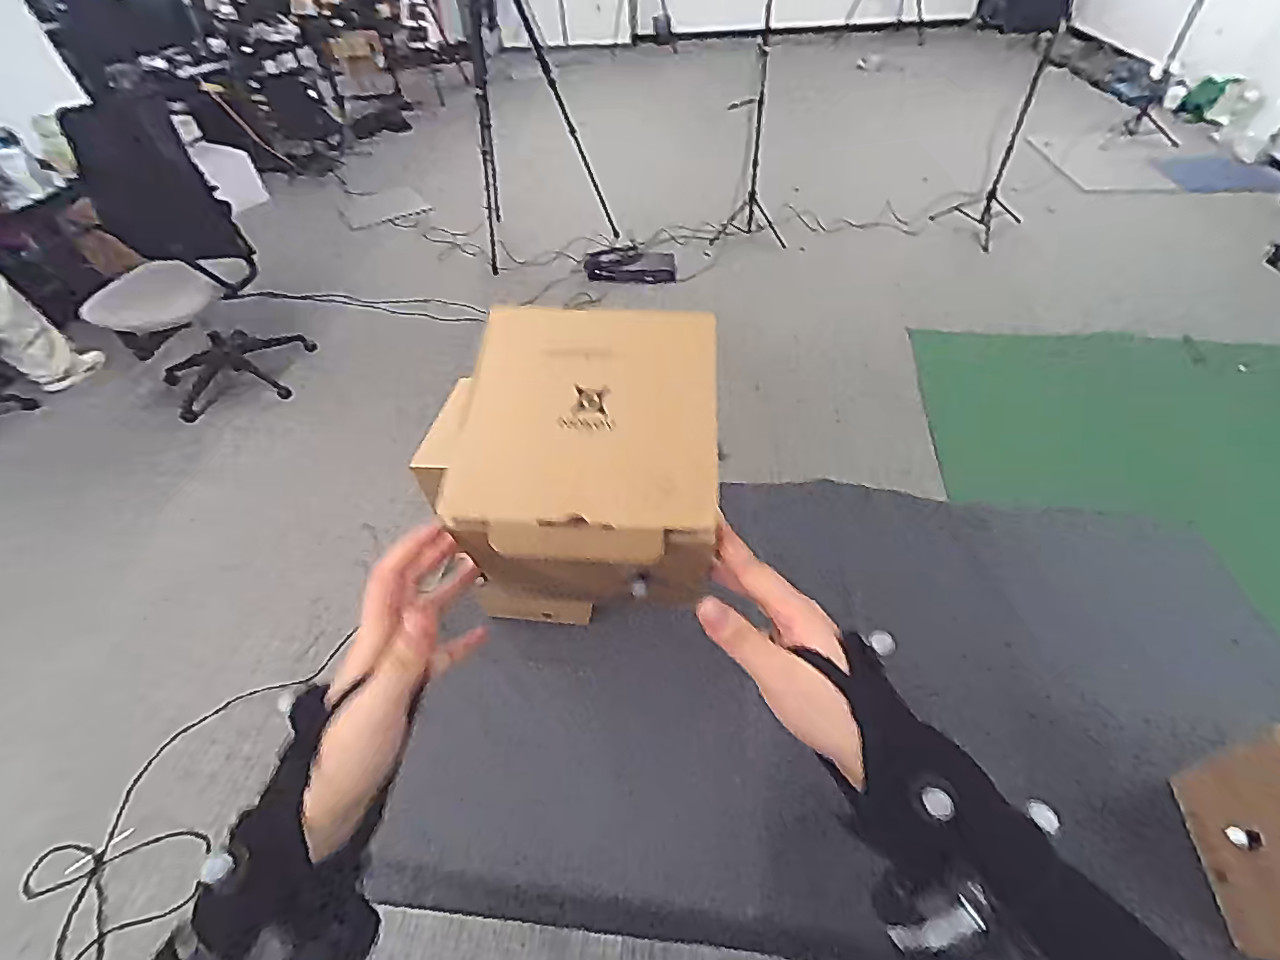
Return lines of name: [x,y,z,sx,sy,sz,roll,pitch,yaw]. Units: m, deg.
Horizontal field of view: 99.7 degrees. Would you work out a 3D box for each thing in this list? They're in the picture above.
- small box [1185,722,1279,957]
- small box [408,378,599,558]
small box: [0.686,0.360,0.514,0.179,0.176,0.168,7,46,12]
small box: [-0.160,-0.014,0.703,0.179,0.176,0.168,4,49,8]
